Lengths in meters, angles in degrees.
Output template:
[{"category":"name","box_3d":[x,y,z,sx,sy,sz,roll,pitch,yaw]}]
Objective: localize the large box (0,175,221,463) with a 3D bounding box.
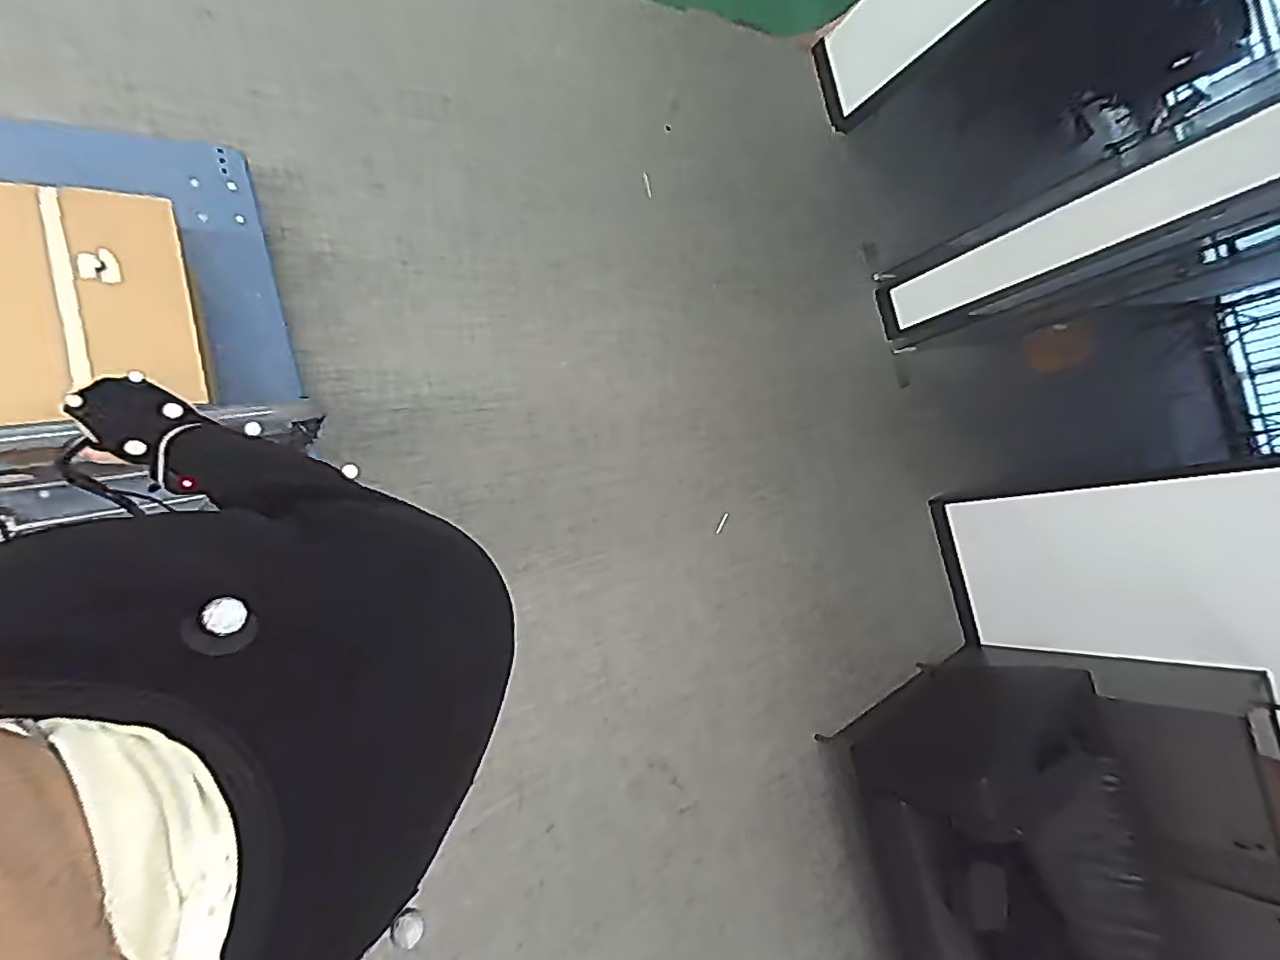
[{"category":"large box","box_3d":[-1.014,-0.270,0.993,0.320,0.320,0.408,-11,87,-34]}]
